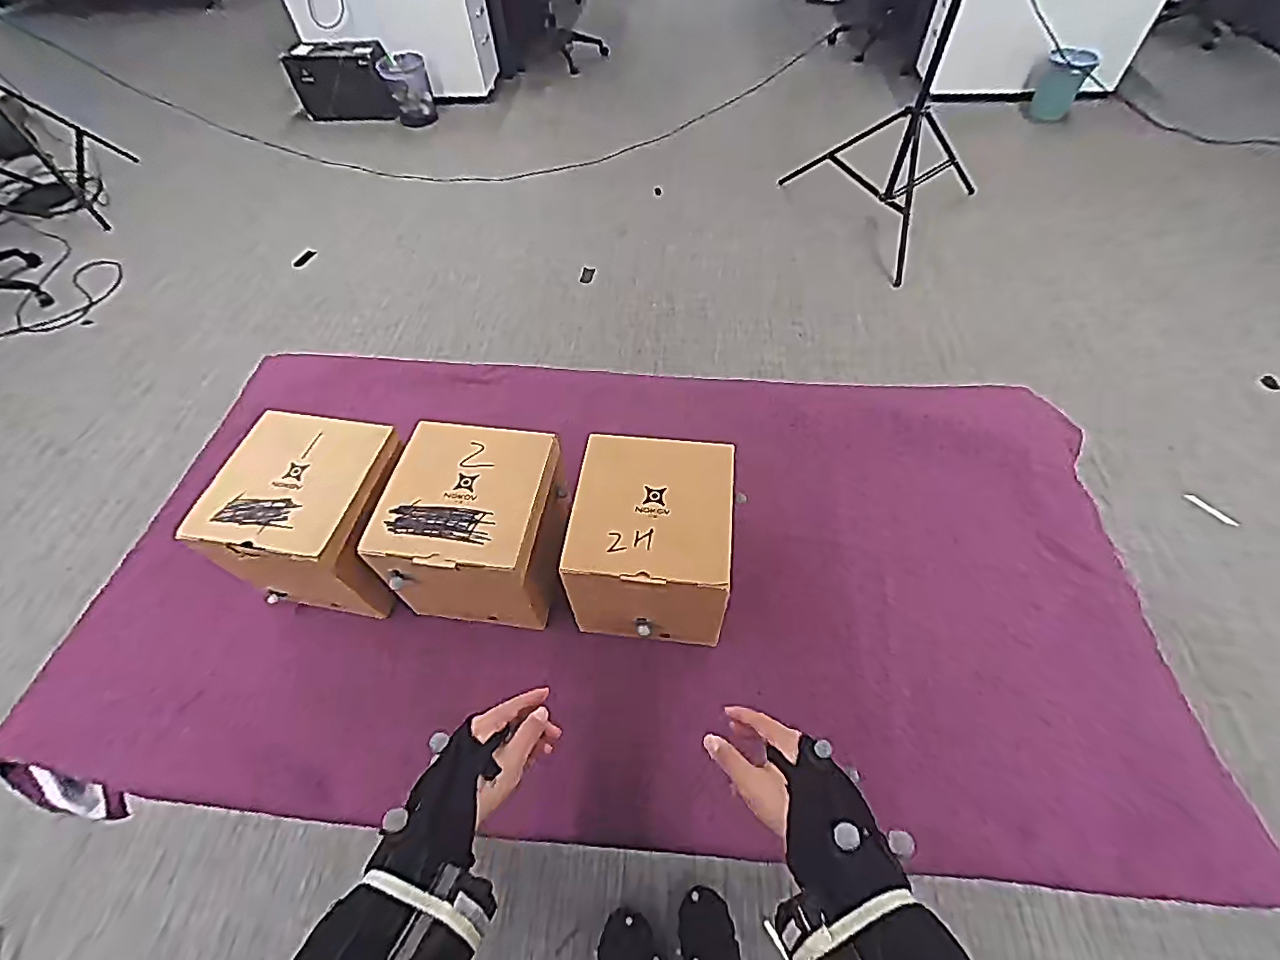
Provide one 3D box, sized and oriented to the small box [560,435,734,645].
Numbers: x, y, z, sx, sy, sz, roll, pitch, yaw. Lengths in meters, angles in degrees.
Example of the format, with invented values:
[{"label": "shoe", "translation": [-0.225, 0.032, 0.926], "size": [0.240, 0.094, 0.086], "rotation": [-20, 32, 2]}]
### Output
[{"label": "small box", "translation": [0.015, 0.071, 0.627], "size": [0.168, 0.176, 0.179], "rotation": [4, 55, 6]}]
